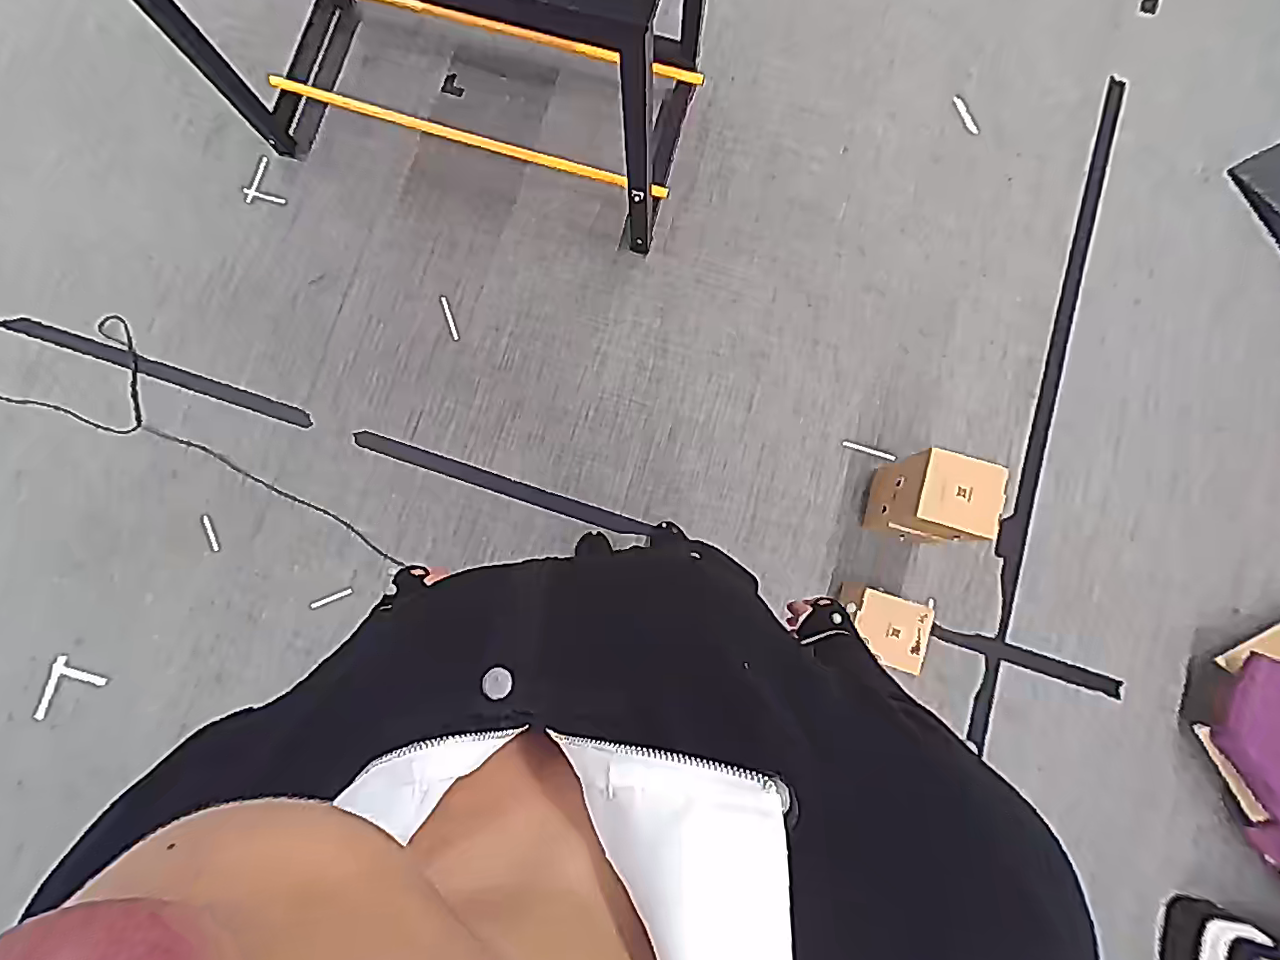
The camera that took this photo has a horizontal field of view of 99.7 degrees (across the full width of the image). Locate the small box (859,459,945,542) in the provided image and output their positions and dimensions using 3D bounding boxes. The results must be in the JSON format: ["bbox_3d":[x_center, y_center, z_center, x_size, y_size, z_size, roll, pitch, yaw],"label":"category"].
[{"bbox_3d":[0.703,0.060,1.433,0.168,0.176,0.179,16,83,2],"label":"small box"}]

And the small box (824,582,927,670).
[{"bbox_3d":[0.600,0.369,1.401,0.179,0.176,0.168,18,84,3],"label":"small box"}]

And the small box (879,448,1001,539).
[{"bbox_3d":[0.698,0.038,1.273,0.179,0.176,0.168,16,82,4],"label":"small box"}]
